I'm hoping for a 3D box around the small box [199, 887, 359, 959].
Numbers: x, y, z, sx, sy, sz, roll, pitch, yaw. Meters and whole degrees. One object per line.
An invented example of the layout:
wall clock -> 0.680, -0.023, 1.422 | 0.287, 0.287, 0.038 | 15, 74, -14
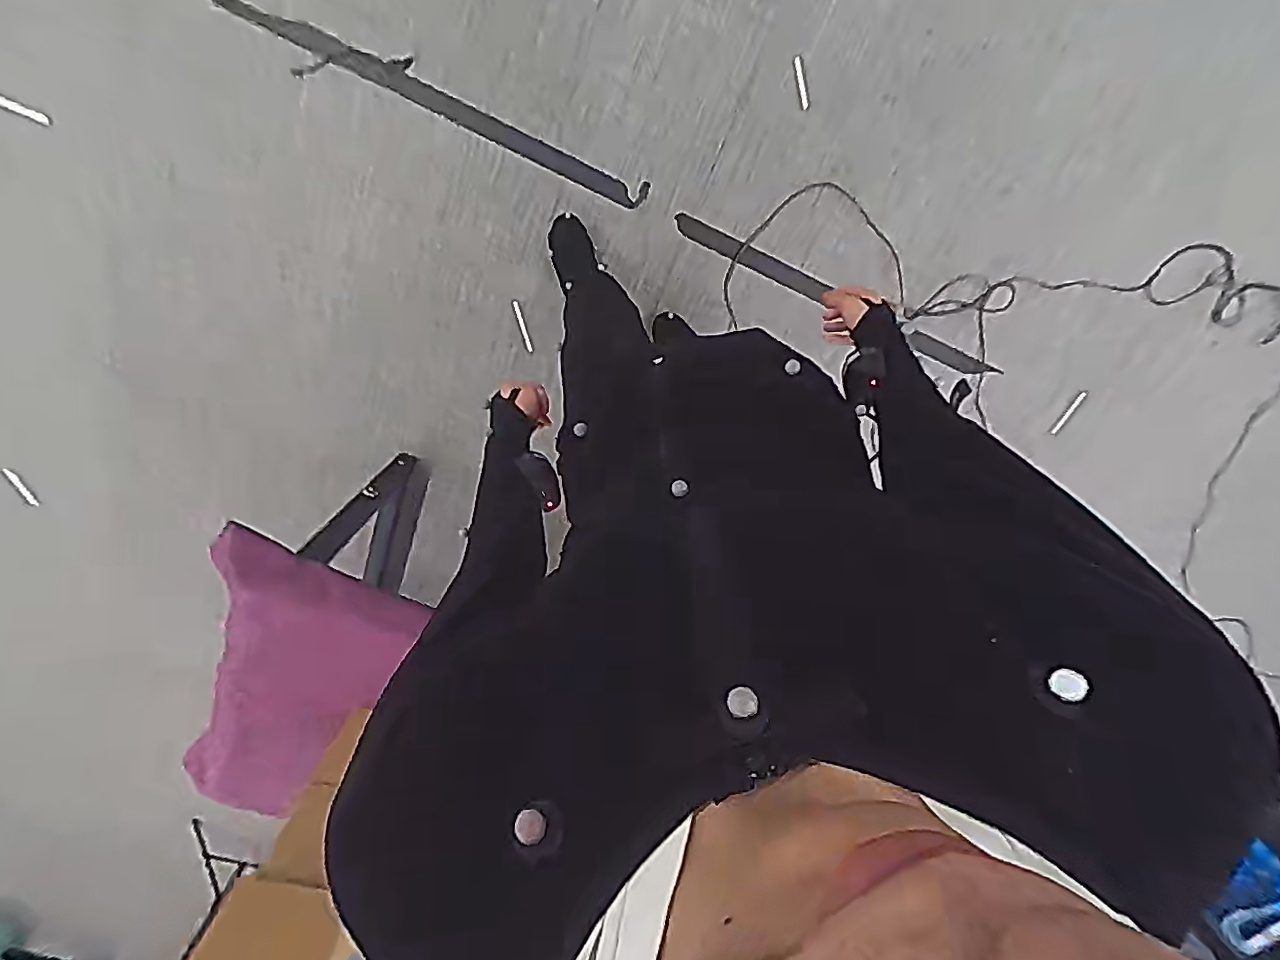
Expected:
small box -> -0.514, 0.704, 0.746 | 0.179, 0.176, 0.168 | 15, 113, -7
